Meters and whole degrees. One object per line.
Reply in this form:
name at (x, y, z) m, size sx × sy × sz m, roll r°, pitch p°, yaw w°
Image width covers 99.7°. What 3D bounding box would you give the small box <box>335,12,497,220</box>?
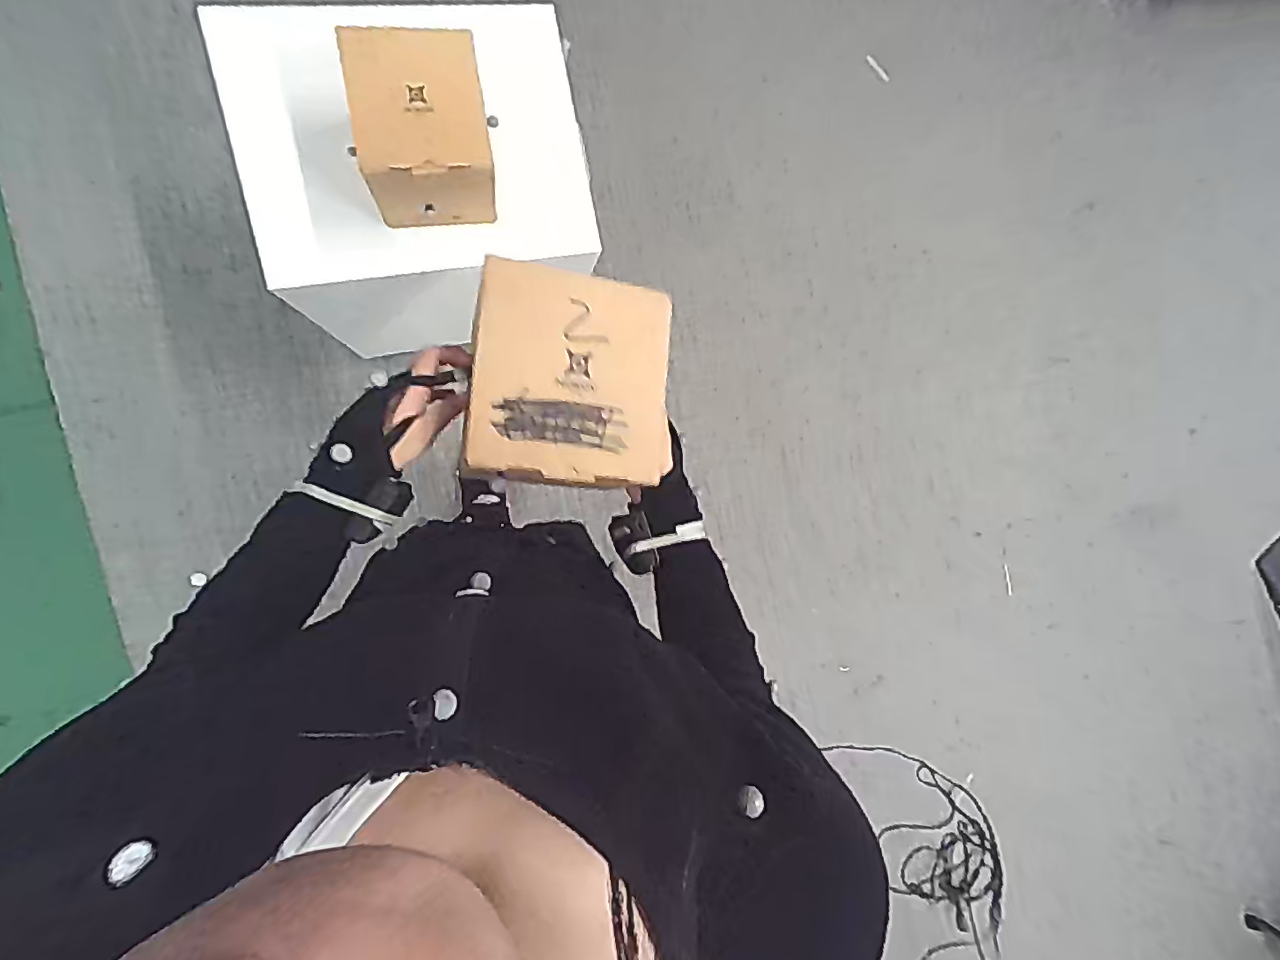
small box at (-0.295, -0.486, 0.745) m, size 0.168 × 0.176 × 0.179 m, roll -10°, pitch 94°, yaw -13°
